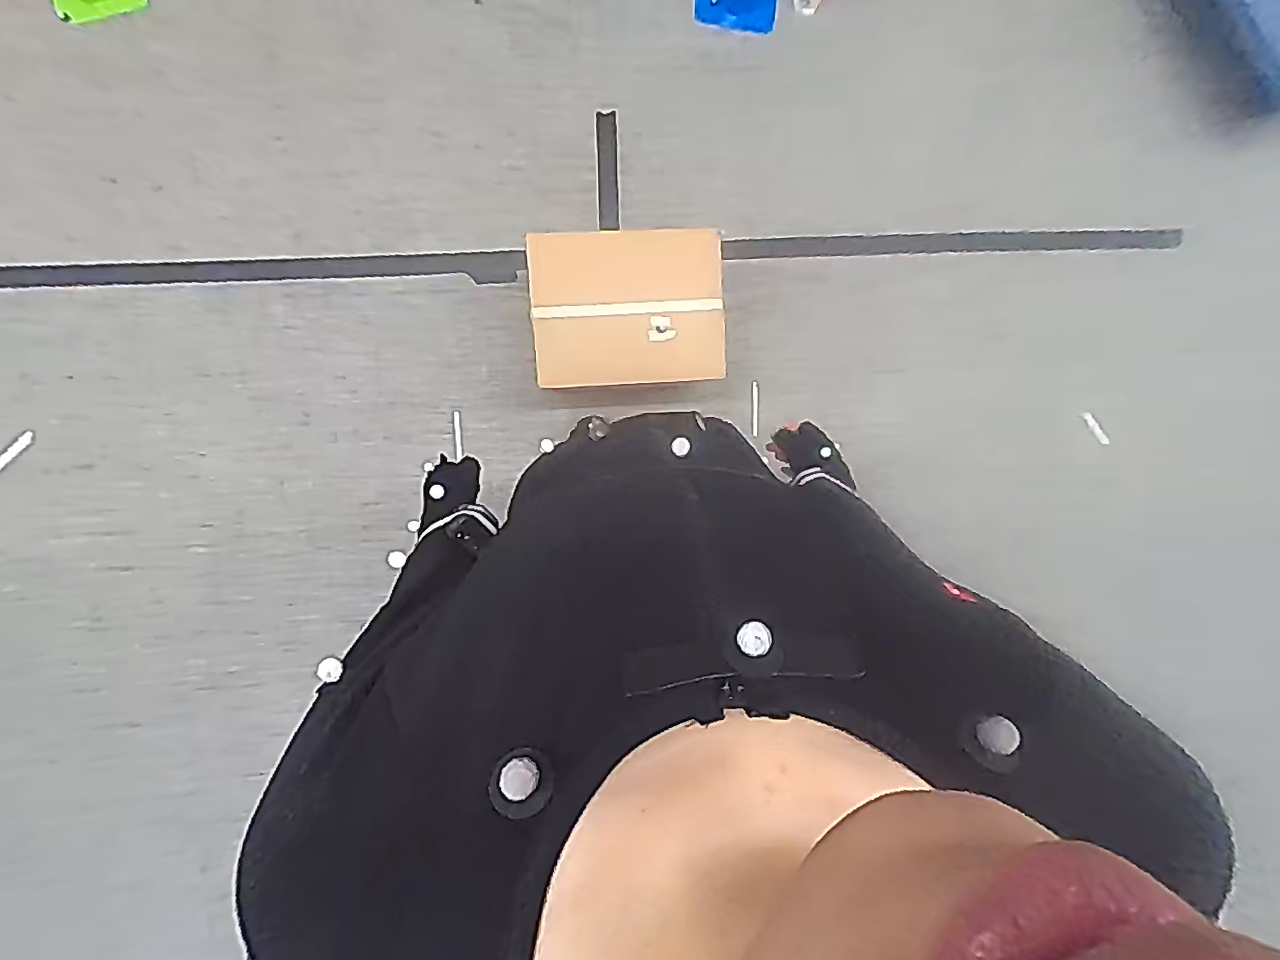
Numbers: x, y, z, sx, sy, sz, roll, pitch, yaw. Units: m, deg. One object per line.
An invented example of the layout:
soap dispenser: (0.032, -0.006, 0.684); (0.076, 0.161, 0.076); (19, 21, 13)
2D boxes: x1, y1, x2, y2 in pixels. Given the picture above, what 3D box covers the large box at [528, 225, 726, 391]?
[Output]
large box: (-0.037, -0.386, 1.284); (0.408, 0.320, 0.320); (-5, 99, -5)
